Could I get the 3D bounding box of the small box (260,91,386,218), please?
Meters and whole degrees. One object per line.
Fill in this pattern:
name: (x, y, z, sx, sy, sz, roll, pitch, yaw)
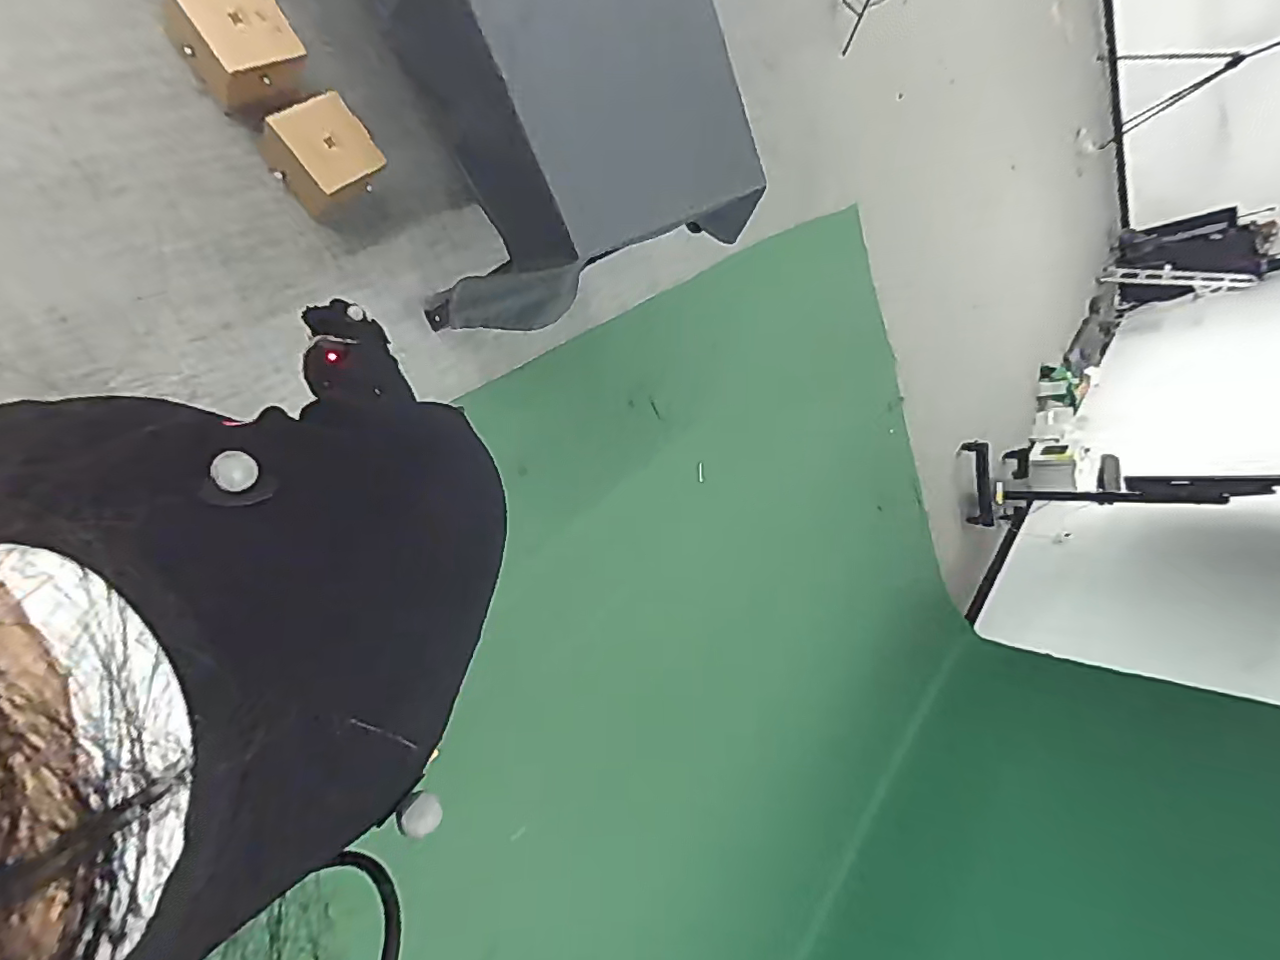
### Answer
small box: (-0.729, -0.739, 1.239, 0.179, 0.176, 0.168, -50, 121, -28)
